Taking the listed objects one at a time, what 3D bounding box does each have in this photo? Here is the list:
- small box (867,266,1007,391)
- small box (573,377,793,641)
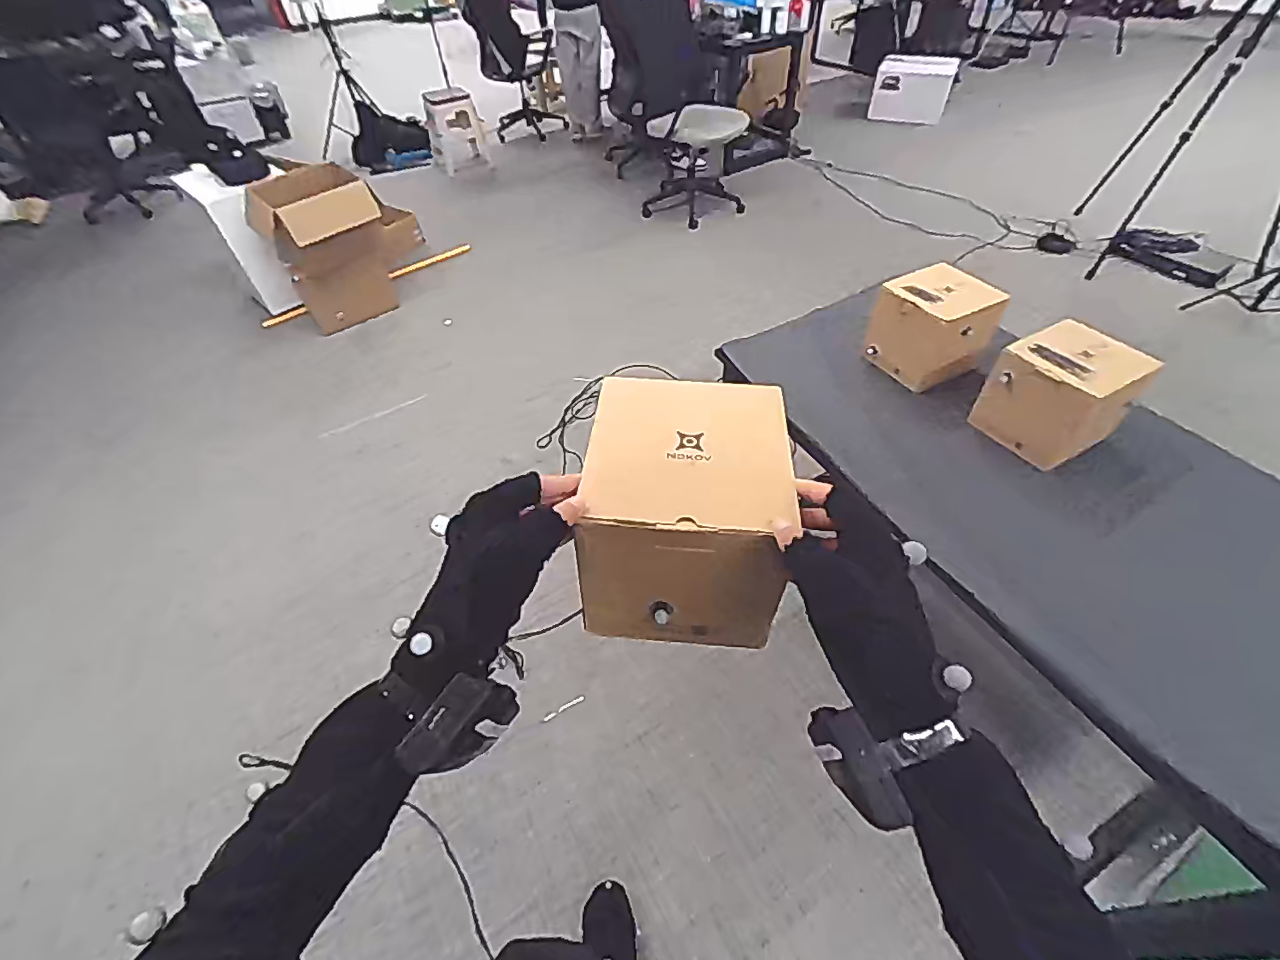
[{"bbox_3d":[0.599,-0.310,1.120,0.179,0.176,0.168,-23,51,-17],"label":"small box"},{"bbox_3d":[0.036,0.026,0.508,0.168,0.176,0.179,4,46,3],"label":"small box"}]
